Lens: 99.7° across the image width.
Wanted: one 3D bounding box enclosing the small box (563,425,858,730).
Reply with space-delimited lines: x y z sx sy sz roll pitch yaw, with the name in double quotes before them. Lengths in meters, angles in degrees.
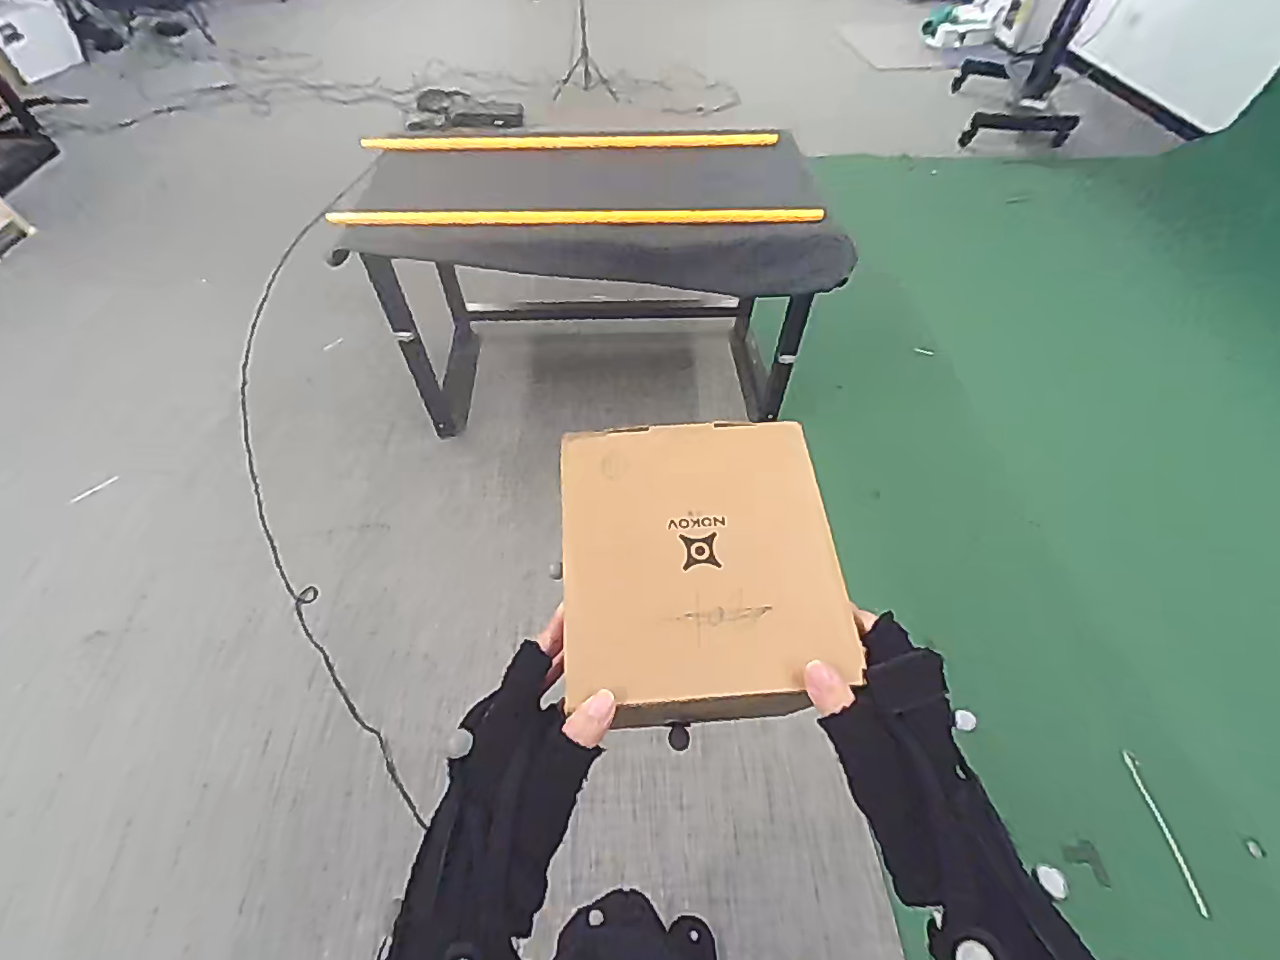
"small box" 0.031 0.079 0.403 0.168 0.176 0.179 -4 61 -3
